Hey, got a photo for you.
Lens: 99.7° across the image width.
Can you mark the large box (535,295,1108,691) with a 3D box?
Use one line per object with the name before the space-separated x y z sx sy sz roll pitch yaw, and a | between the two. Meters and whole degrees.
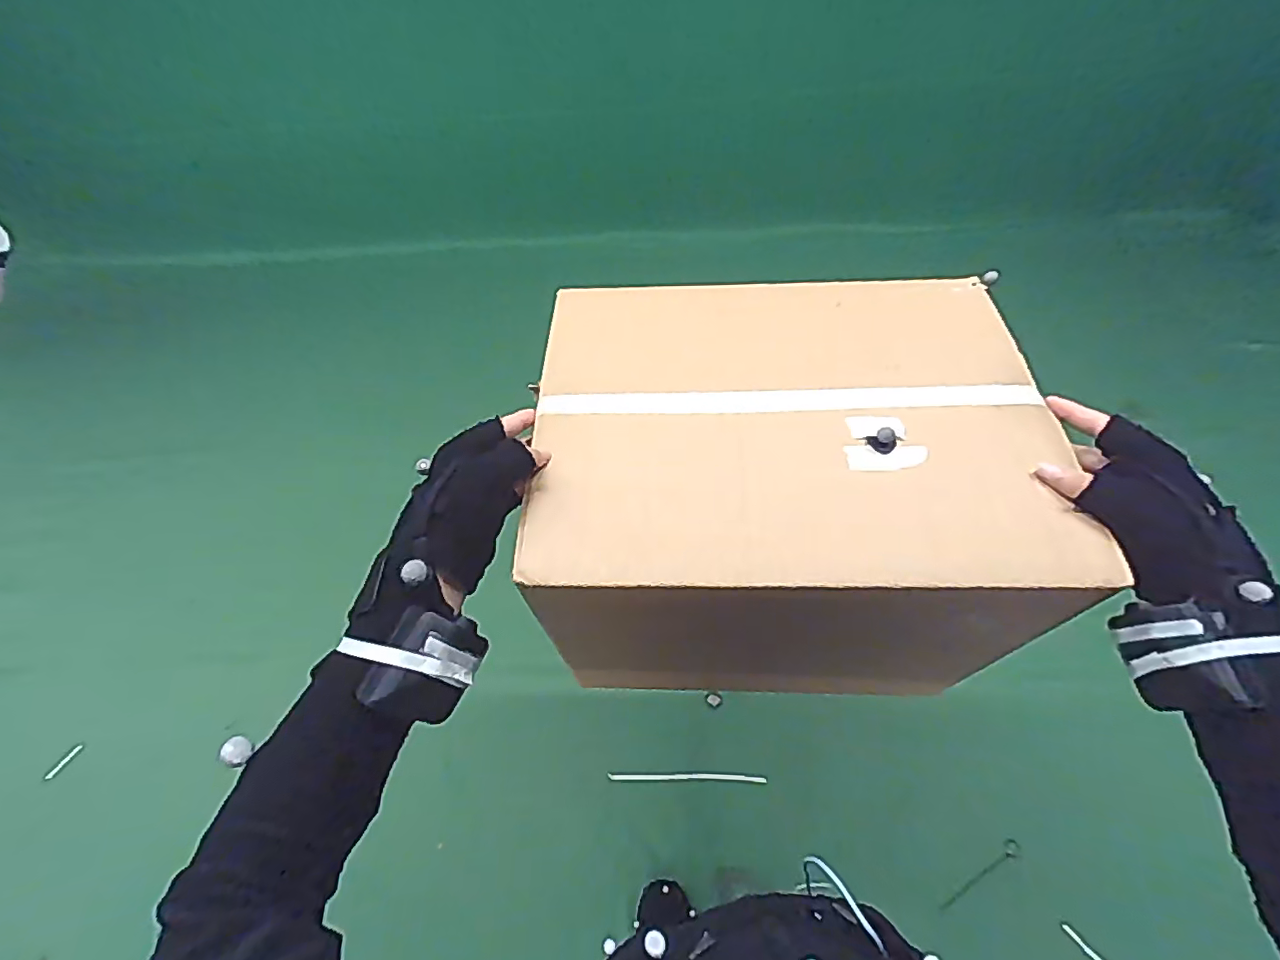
large box | 0.128 0.029 0.579 0.408 0.320 0.320 0 56 3
